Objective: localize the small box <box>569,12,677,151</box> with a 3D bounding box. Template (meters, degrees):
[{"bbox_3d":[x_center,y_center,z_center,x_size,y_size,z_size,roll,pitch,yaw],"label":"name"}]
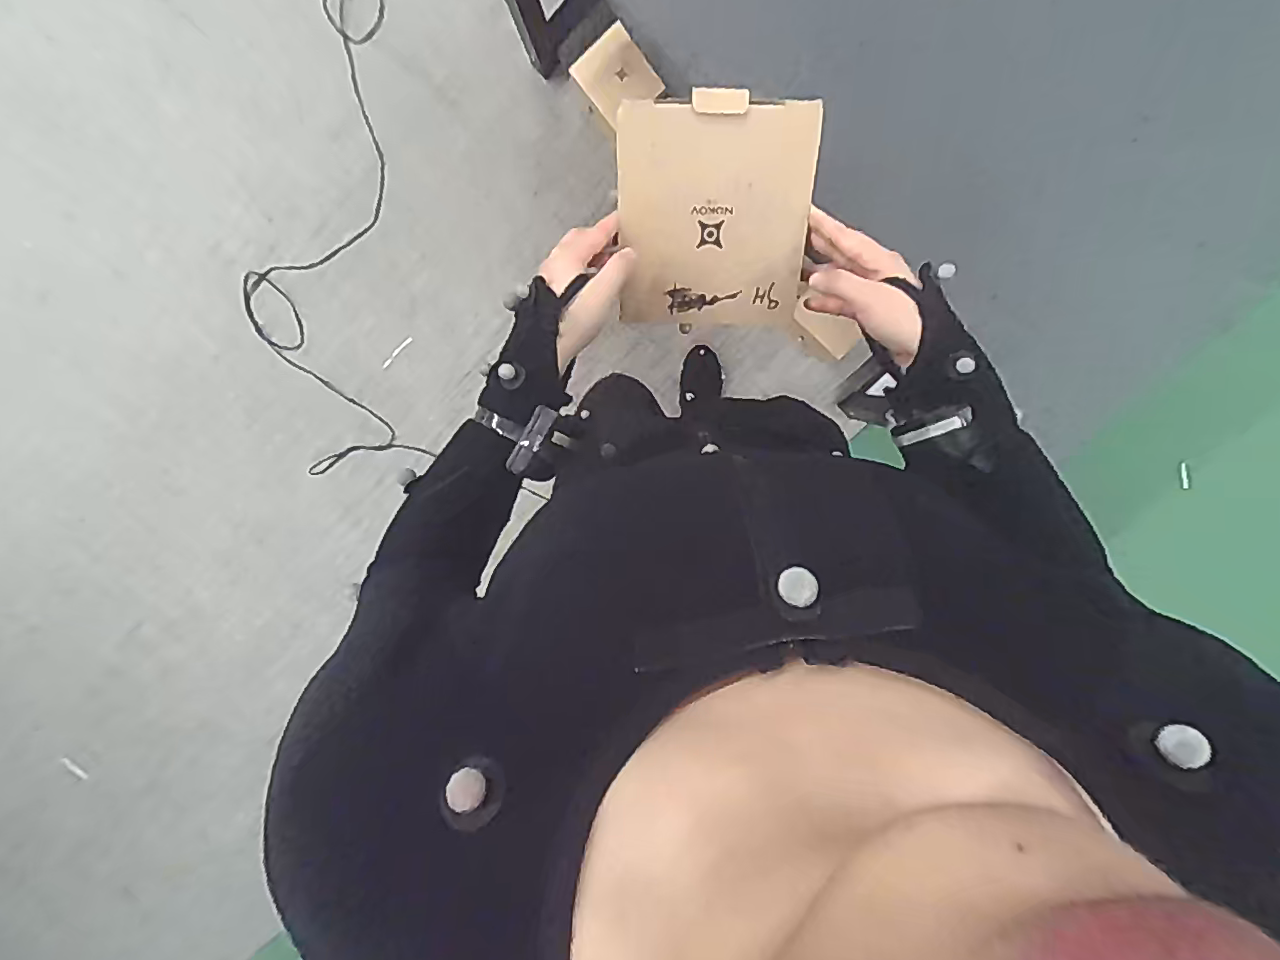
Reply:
[{"bbox_3d":[-0.032,-0.871,1.217,0.179,0.176,0.168,-39,98,8],"label":"small box"}]

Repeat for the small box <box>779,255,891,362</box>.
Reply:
[{"bbox_3d":[0.453,-0.401,1.295,0.168,0.176,0.179,41,100,-7],"label":"small box"}]

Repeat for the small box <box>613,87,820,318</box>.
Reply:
[{"bbox_3d":[0.059,-0.268,0.529,0.168,0.176,0.179,1,121,1],"label":"small box"}]
